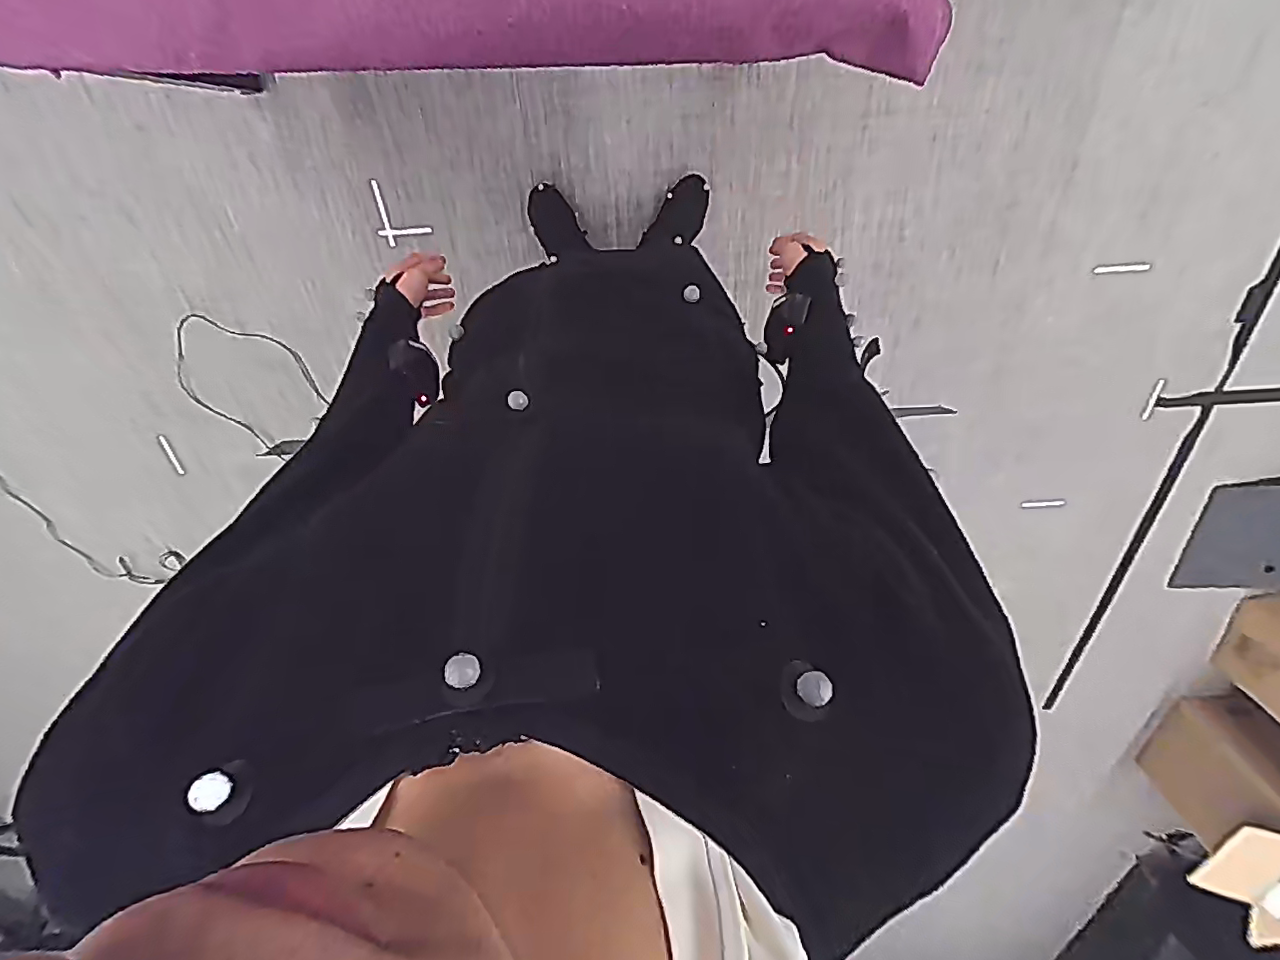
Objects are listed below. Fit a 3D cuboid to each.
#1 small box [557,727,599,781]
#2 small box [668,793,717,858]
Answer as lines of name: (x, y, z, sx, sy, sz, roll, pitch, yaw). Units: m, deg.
small box: (-0.280, 1.256, 2.485, 0.179, 0.176, 0.168, -3, 122, 1)
small box: (0.214, 1.410, 2.214, 0.179, 0.176, 0.168, -7, 123, 1)
